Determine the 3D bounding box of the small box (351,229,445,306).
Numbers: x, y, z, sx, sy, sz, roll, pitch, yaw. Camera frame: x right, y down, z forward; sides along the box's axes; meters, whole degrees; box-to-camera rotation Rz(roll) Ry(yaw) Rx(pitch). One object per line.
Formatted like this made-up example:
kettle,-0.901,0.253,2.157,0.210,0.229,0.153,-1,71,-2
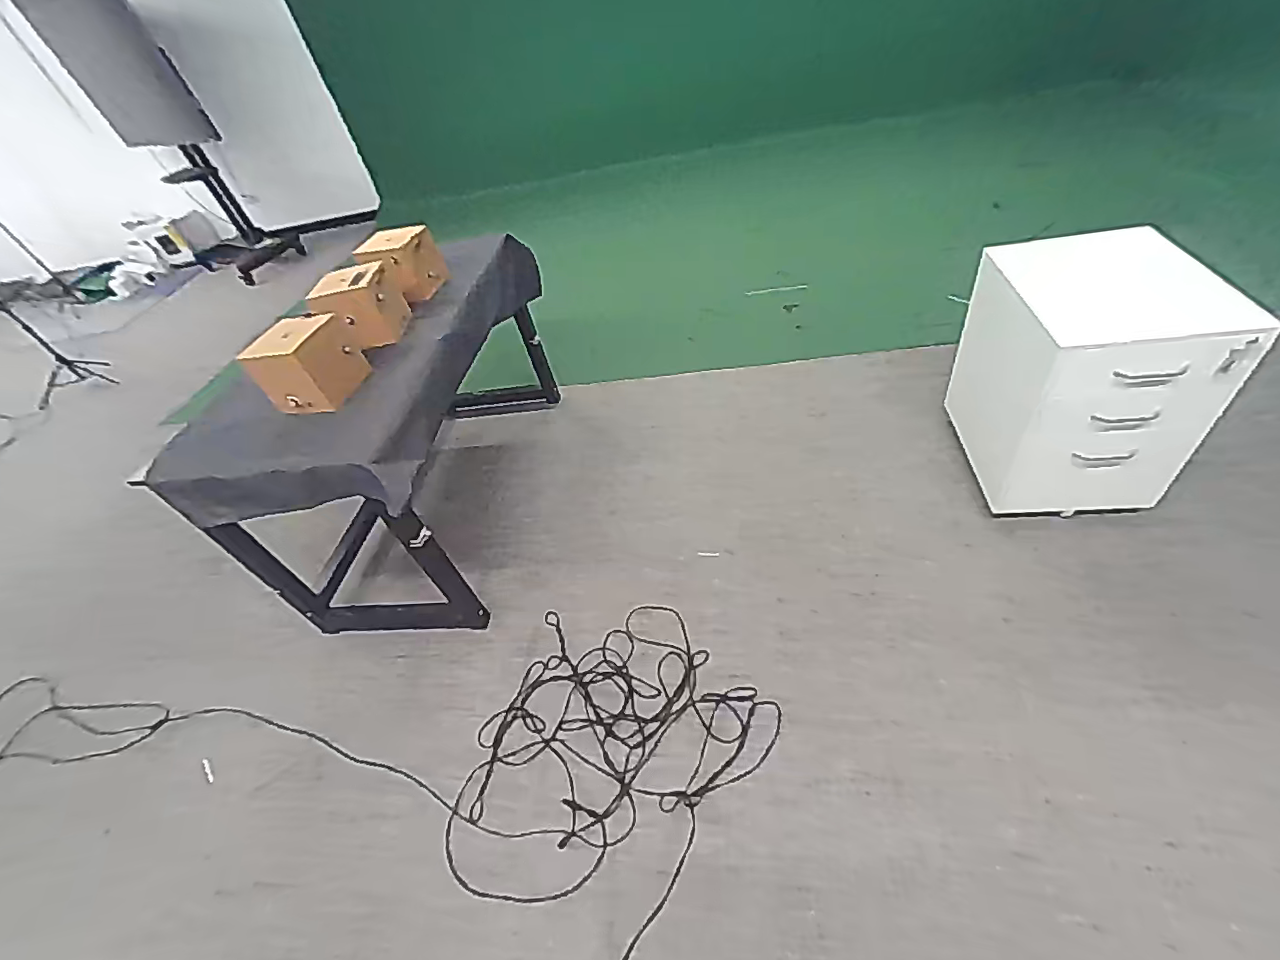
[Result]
small box,-0.743,-0.654,1.679,0.179,0.176,0.168,0,45,14

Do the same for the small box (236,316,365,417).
small box,-0.802,-0.272,1.306,0.168,0.176,0.179,-2,46,15
